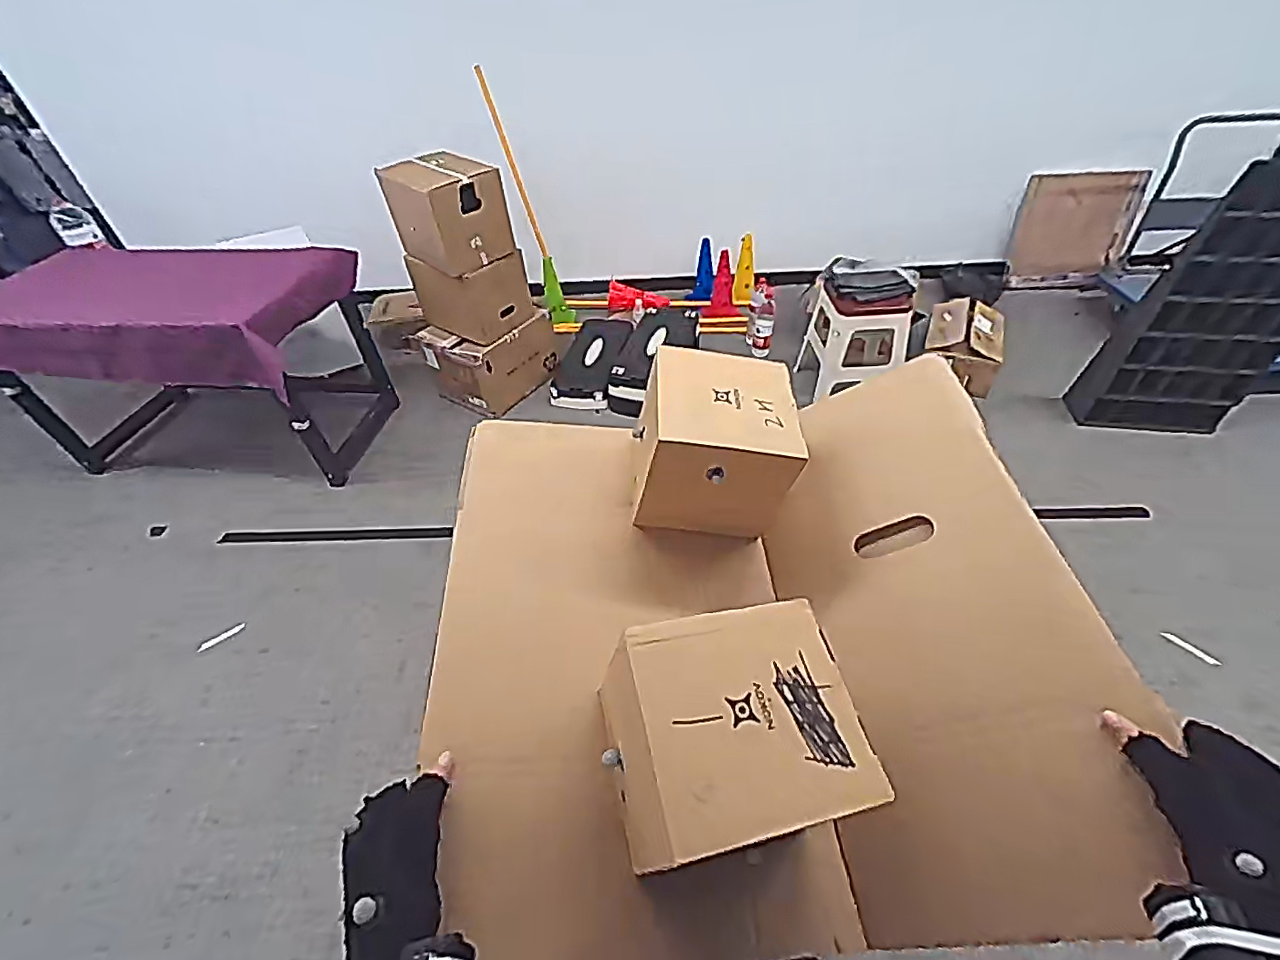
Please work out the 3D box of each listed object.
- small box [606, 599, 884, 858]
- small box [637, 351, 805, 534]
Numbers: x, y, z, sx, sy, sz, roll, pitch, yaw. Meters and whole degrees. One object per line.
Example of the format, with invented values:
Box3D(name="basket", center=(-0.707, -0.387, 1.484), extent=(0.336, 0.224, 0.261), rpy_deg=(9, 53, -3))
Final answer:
Box3D(name="small box", center=(0.076, 0.229, 0.498), extent=(0.179, 0.176, 0.168), rpy_deg=(-5, 54, -15))
Box3D(name="small box", center=(0.093, -0.043, 0.718), extent=(0.179, 0.176, 0.168), rpy_deg=(8, 51, -7))
